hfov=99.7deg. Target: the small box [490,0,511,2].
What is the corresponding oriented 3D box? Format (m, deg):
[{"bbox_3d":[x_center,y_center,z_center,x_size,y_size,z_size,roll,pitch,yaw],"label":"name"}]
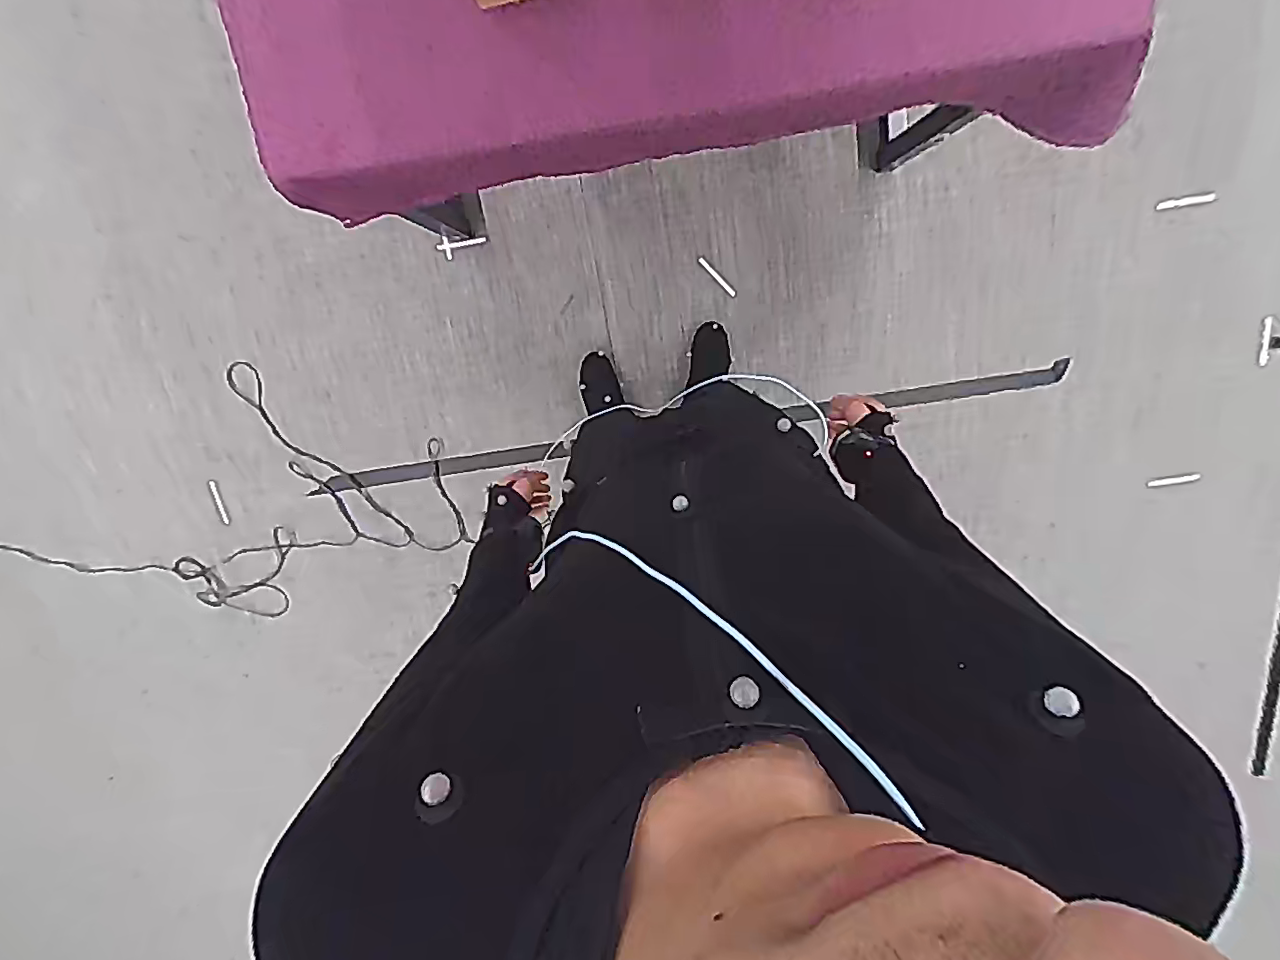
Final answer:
[{"bbox_3d":[-0.144,-0.684,0.605,0.168,0.176,0.179,-11,105,2],"label":"small box"}]
